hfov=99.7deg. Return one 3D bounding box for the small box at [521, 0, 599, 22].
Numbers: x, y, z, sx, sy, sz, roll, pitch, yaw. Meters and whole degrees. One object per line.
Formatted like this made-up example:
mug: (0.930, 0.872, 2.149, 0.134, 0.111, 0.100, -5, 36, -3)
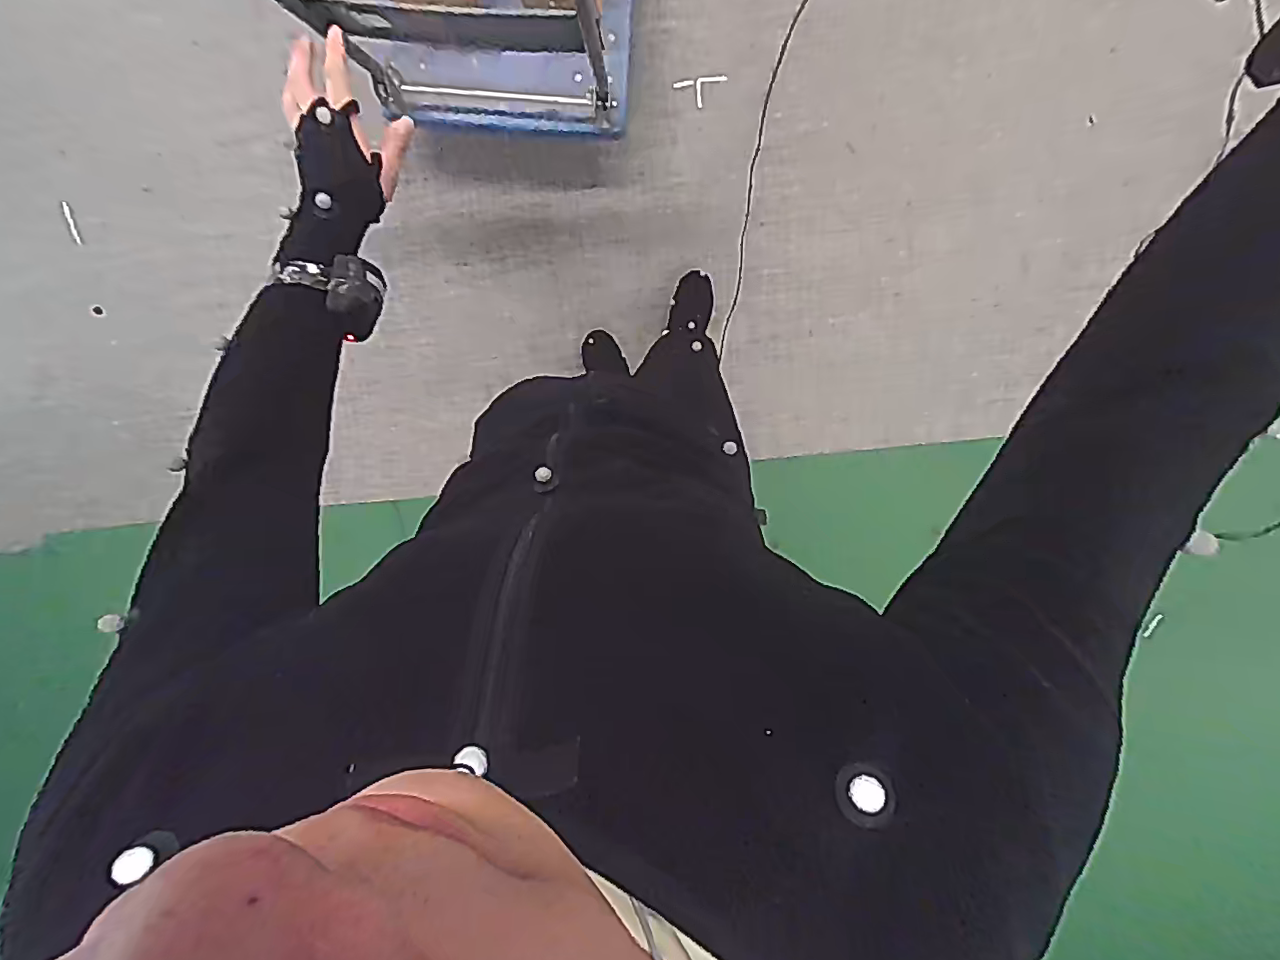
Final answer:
small box: (-0.166, -1.055, 1.063, 0.168, 0.176, 0.179, 5, 108, 0)
